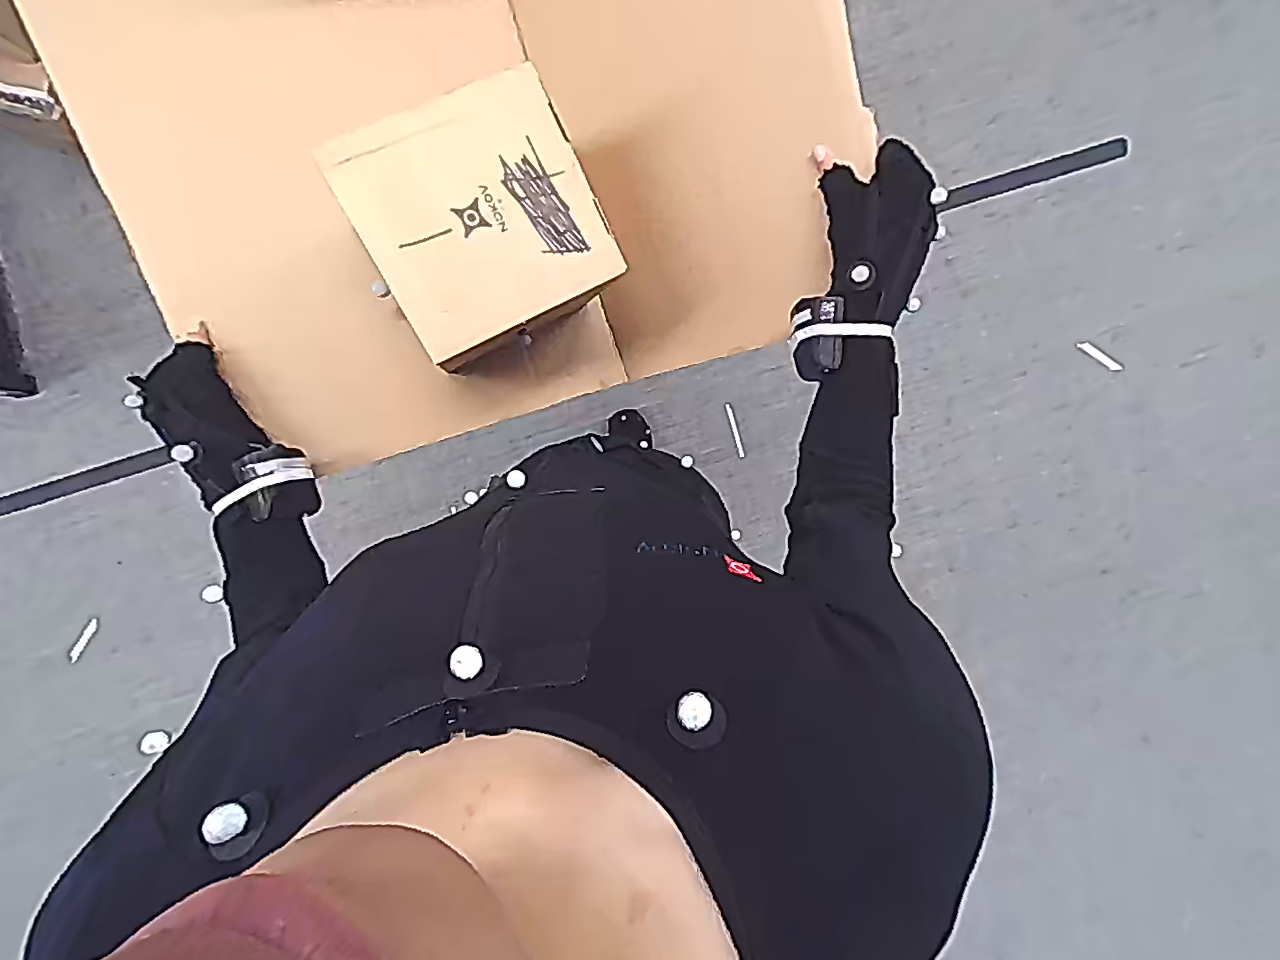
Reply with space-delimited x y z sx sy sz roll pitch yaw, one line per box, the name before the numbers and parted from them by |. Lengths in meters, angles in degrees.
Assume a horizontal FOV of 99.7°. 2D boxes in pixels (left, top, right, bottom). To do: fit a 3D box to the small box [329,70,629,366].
small box | -0.139 -0.217 0.495 0.179 0.176 0.168 -30 106 -10
